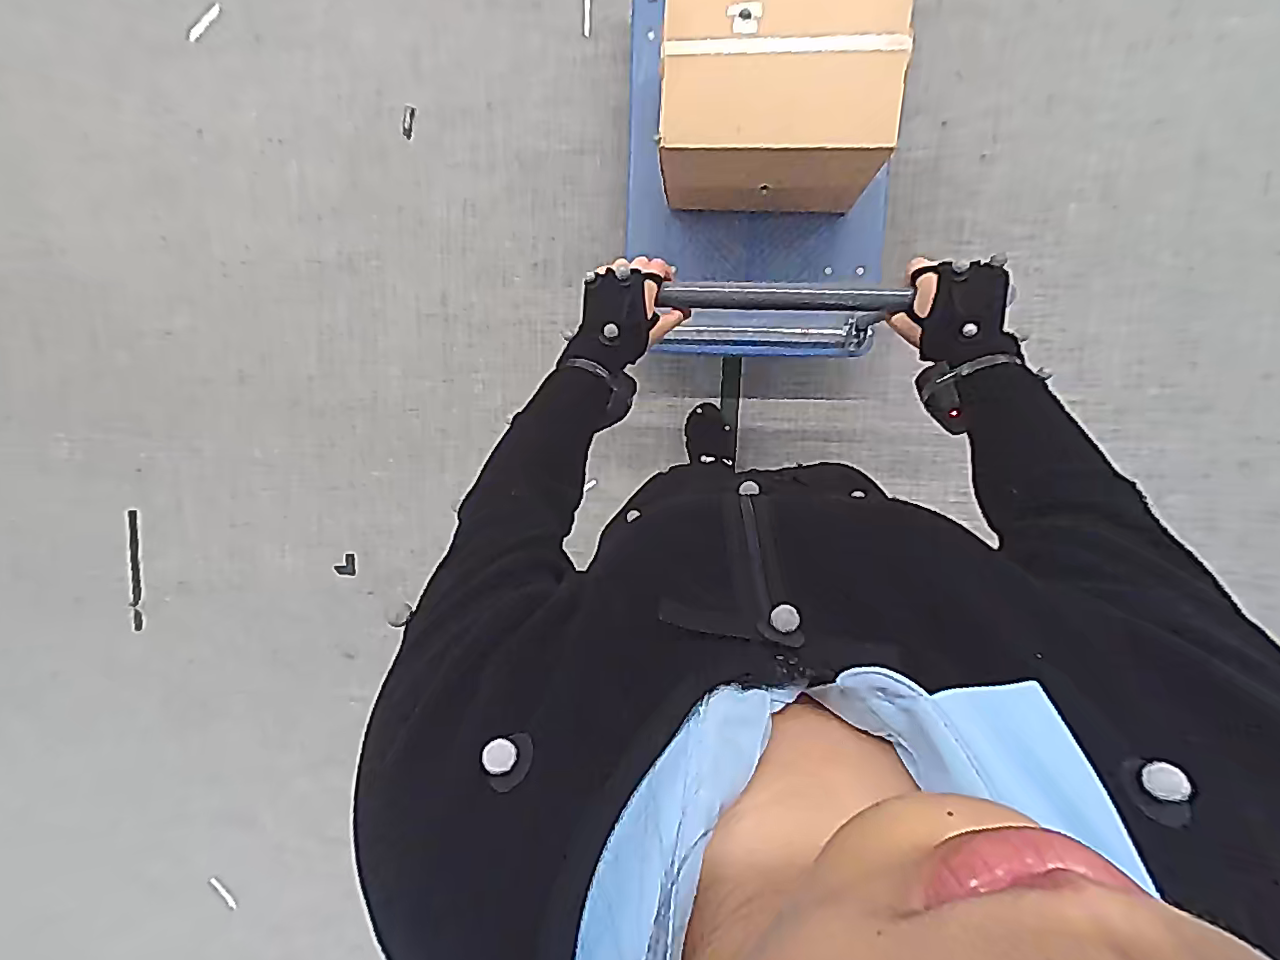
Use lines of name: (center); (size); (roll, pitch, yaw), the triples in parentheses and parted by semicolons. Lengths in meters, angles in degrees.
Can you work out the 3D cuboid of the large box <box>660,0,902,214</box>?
large box: (0.258, -0.743, 1.079); (0.408, 0.320, 0.320); (4, 97, 7)
